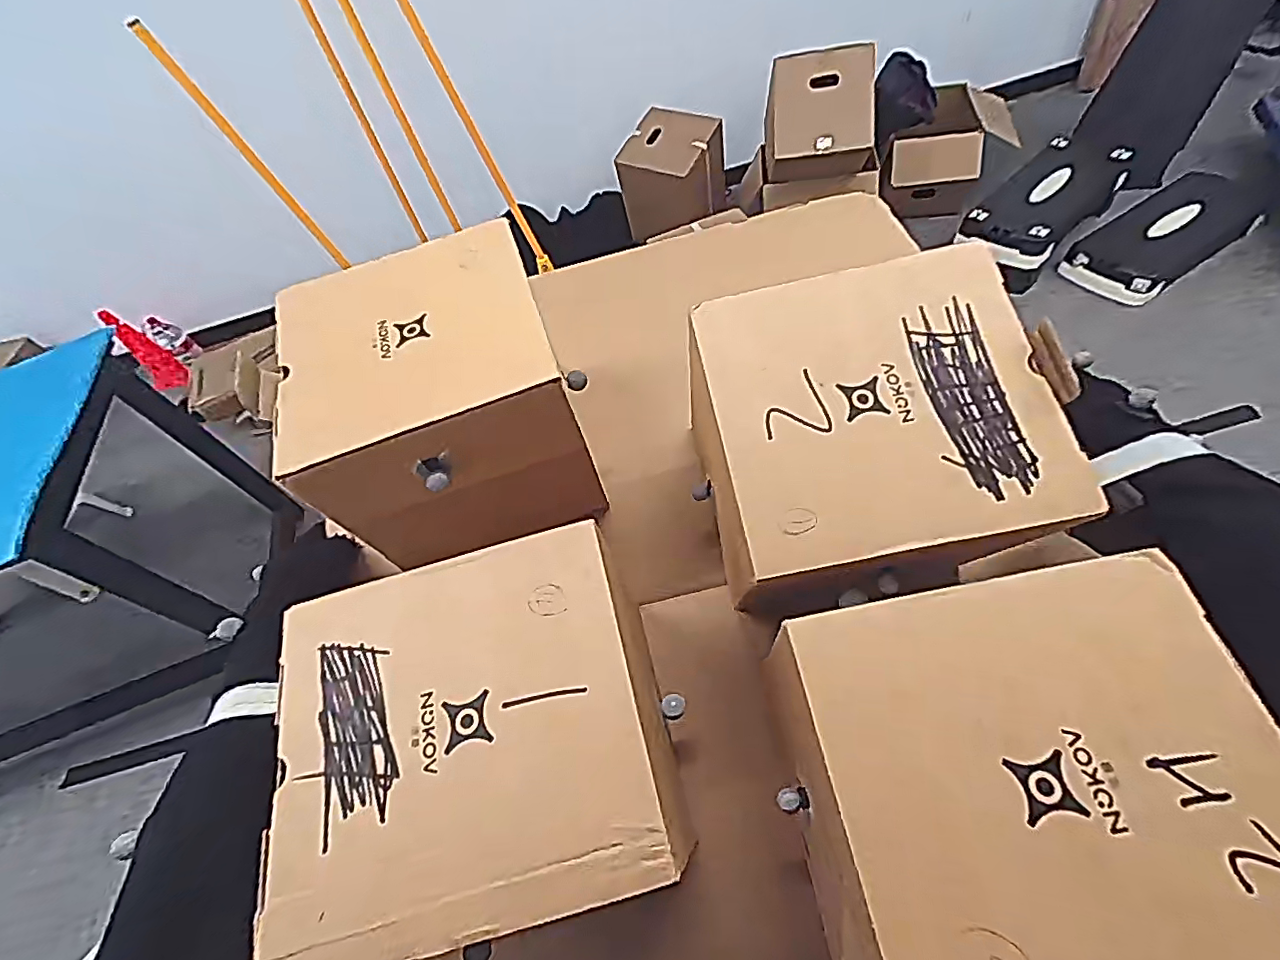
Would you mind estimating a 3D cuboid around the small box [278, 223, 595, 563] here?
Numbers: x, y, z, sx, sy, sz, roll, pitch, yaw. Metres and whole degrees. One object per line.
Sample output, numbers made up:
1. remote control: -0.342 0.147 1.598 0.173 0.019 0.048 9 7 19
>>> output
1. small box: -0.143 -0.058 0.427 0.179 0.176 0.168 -20 60 -2
